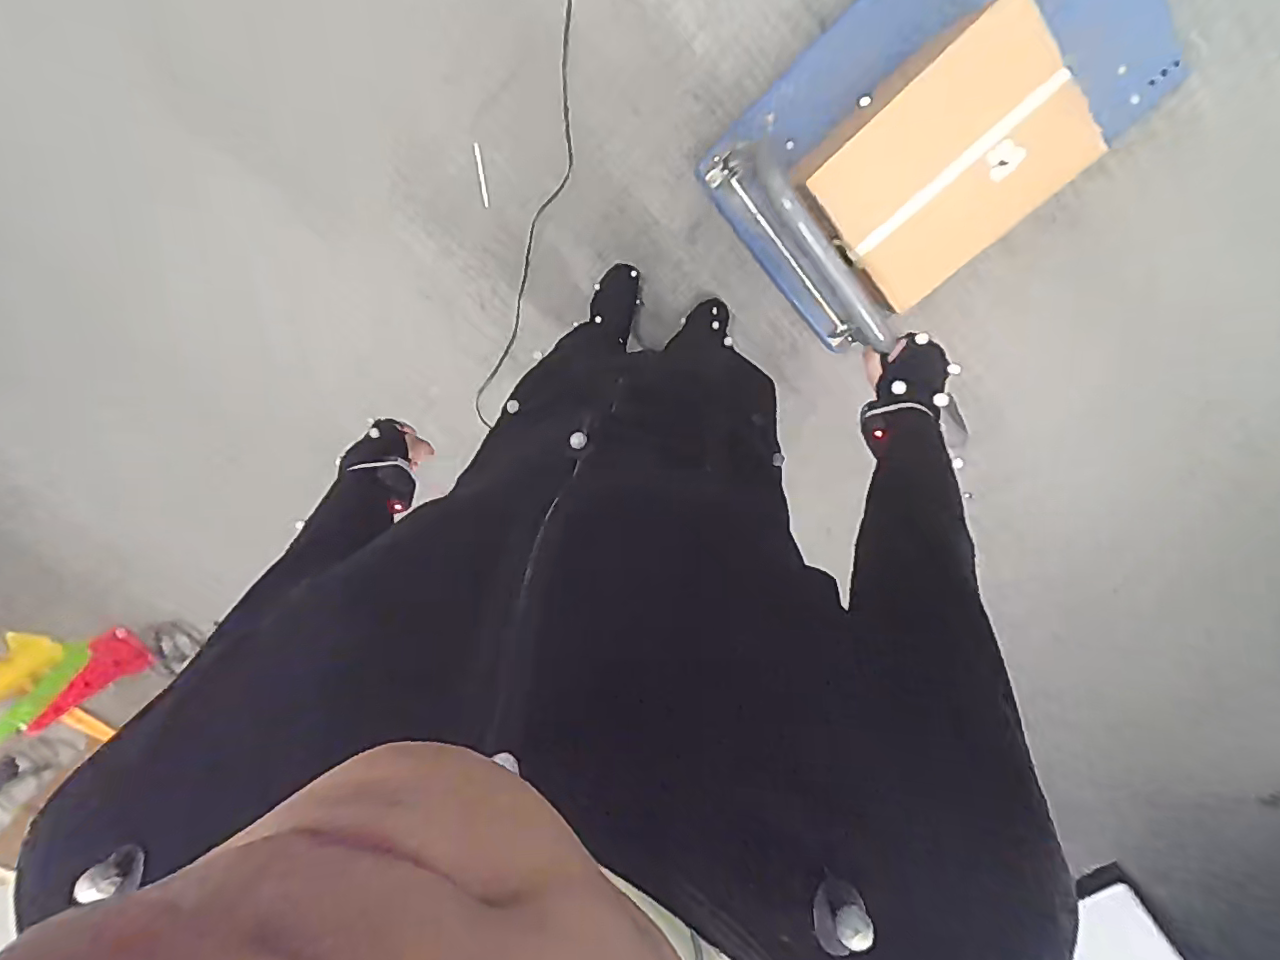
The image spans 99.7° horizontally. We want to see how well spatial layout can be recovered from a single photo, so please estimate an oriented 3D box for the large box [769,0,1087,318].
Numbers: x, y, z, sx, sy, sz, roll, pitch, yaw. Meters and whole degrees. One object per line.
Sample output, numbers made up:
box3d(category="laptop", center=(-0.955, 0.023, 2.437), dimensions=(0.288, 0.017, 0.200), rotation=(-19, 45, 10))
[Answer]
box3d(category="large box", center=(0.531, -0.596, 1.084), dimensions=(0.408, 0.320, 0.320), rotation=(-40, 109, 17))
